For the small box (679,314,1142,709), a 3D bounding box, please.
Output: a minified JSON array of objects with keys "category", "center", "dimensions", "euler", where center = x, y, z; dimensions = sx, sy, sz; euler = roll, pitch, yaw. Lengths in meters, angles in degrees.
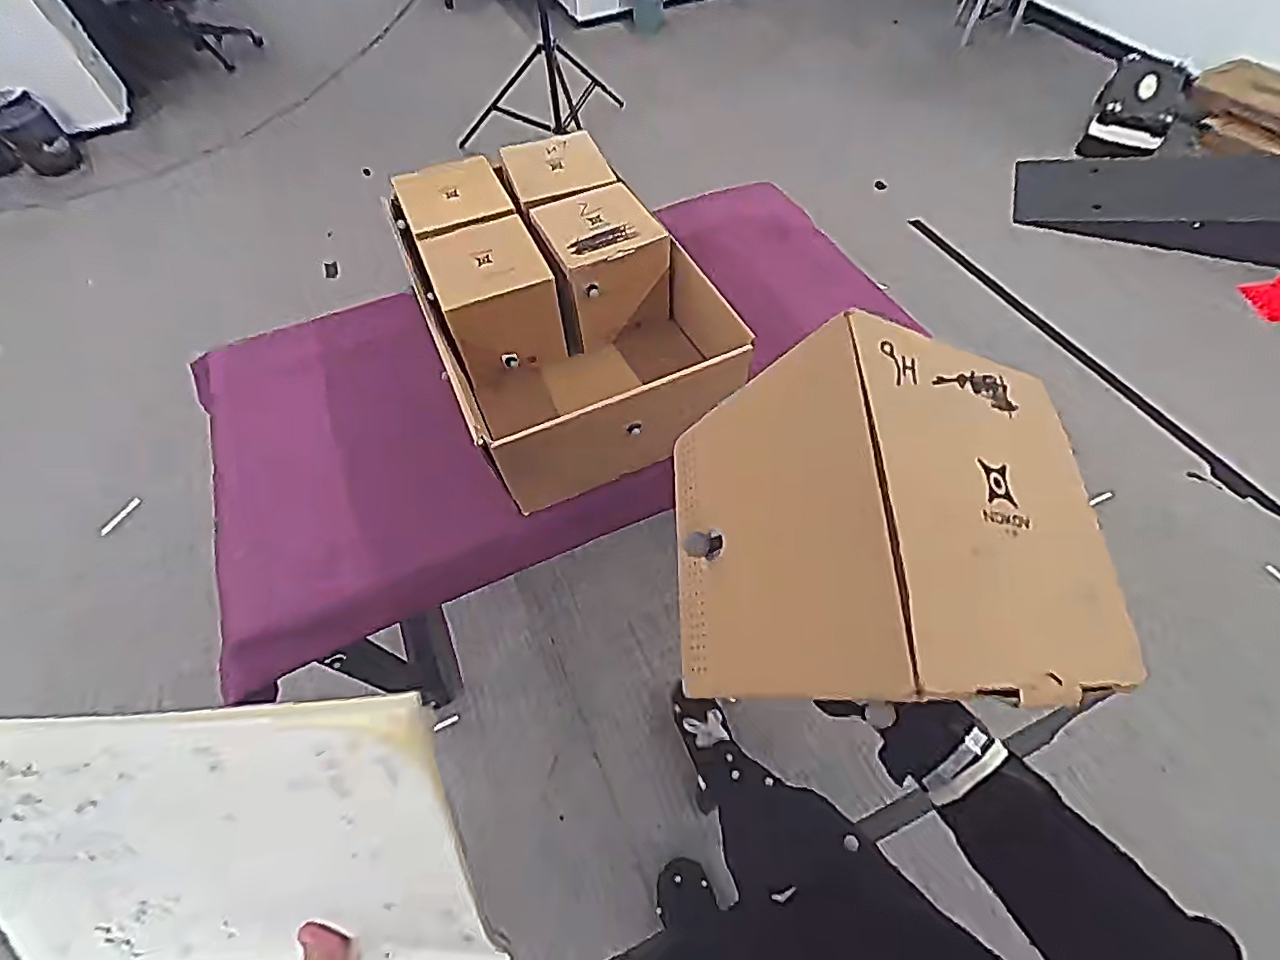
[{"category":"small box","center":[0.135,0.038,0.328],"dimensions":[0.168,0.176,0.179],"euler":[9,67,-25]}]
